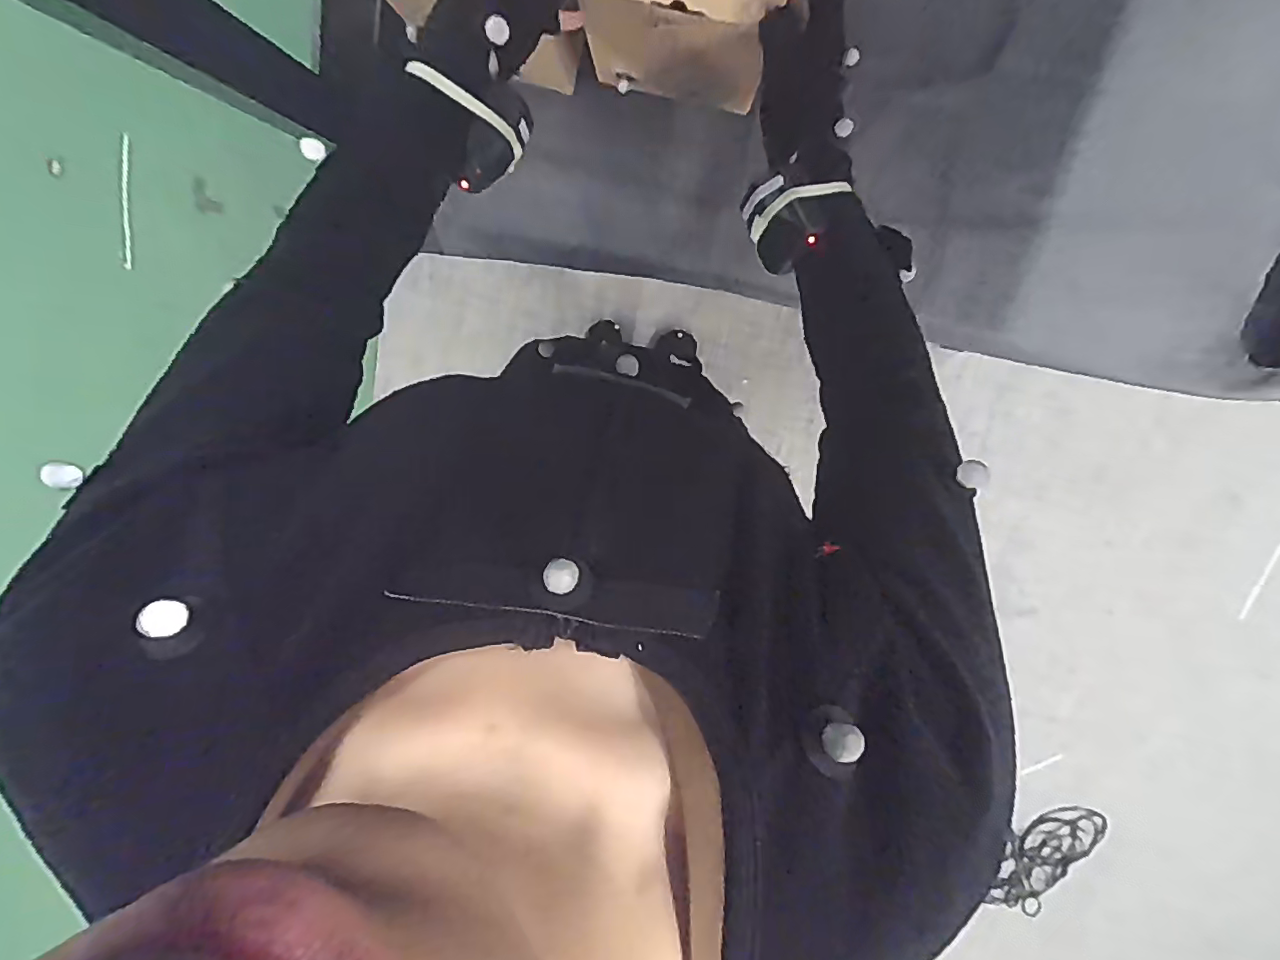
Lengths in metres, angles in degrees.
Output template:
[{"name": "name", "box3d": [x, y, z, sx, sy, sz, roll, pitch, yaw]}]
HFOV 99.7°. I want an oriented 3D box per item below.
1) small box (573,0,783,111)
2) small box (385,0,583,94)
[{"name": "small box", "box3d": [0.048, -0.459, 0.471, 0.168, 0.176, 0.179, 12, 105, -1]}, {"name": "small box", "box3d": [-0.138, -0.508, 0.510, 0.168, 0.176, 0.179, 14, 105, -3]}]
